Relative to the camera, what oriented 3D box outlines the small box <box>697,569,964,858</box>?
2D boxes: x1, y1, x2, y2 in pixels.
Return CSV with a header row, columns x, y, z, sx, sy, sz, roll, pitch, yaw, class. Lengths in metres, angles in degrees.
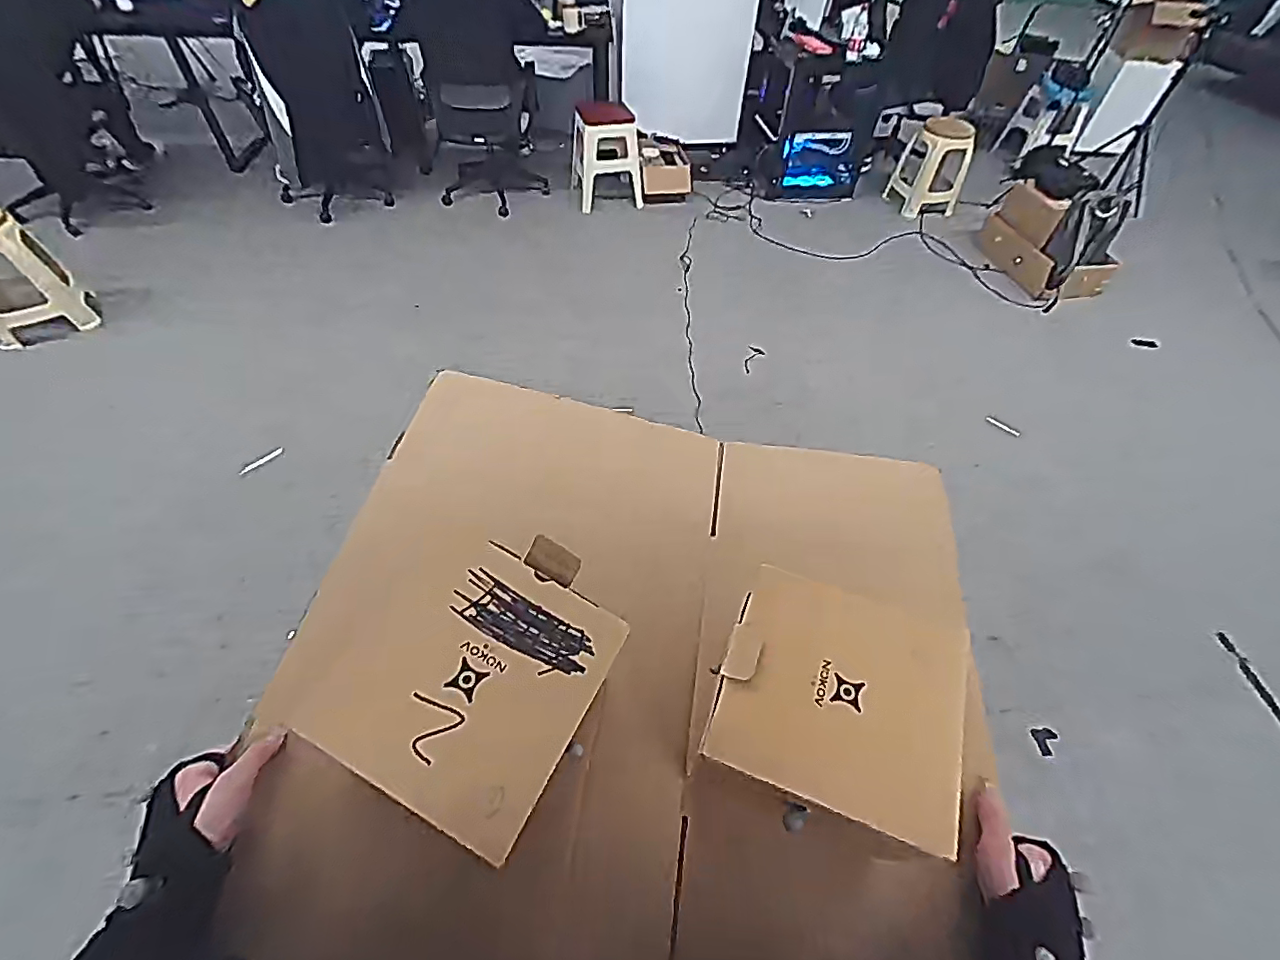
x,y,z,sx,sy,sz,roll,pitch,yaw,class
0.159,0.210,0.488,0.179,0.176,0.168,16,58,14,small box
